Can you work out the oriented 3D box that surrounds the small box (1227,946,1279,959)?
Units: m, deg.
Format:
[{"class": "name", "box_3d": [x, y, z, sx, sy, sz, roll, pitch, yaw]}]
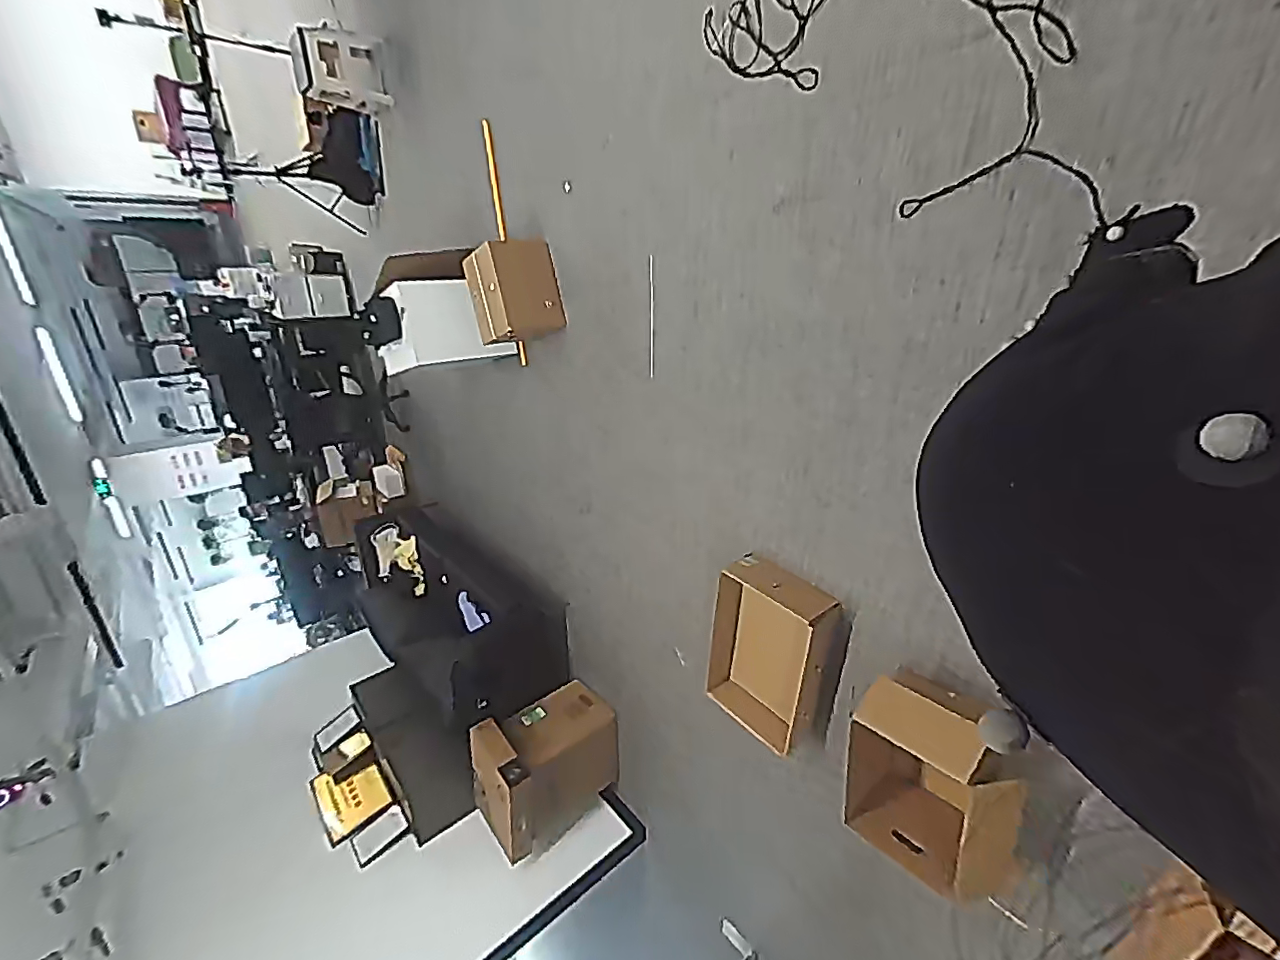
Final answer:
[{"class": "small box", "box_3d": [1.170, 1.011, 0.984, 0.179, 0.176, 0.168, 29, 126, 42]}]
